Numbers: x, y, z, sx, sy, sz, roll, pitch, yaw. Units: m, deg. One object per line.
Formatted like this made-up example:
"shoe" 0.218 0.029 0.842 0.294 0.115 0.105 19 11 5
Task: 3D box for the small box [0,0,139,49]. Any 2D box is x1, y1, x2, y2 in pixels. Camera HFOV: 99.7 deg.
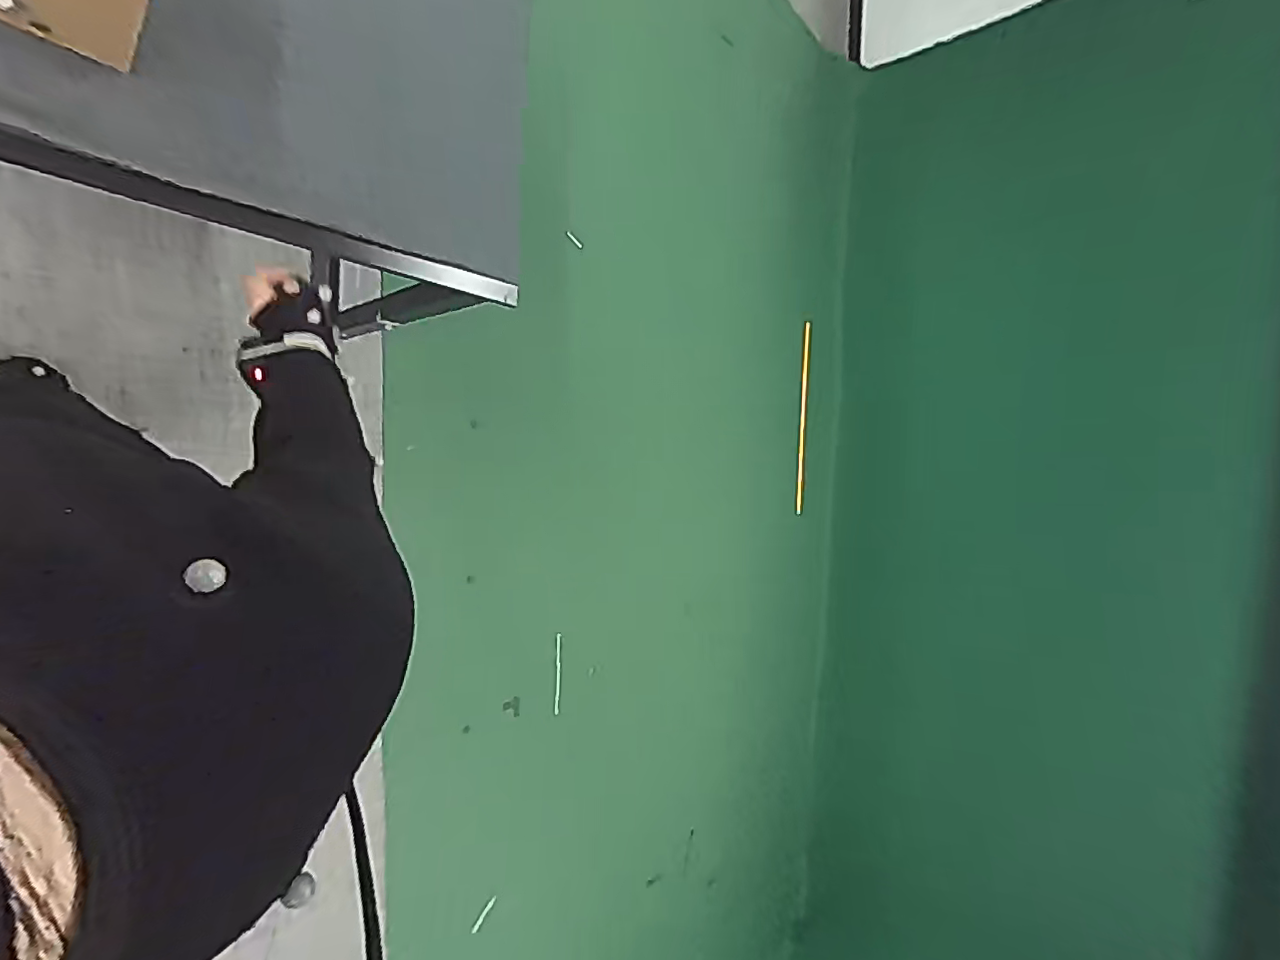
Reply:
"small box" -0.516 -0.516 0.437 0.168 0.176 0.179 3 92 -49
